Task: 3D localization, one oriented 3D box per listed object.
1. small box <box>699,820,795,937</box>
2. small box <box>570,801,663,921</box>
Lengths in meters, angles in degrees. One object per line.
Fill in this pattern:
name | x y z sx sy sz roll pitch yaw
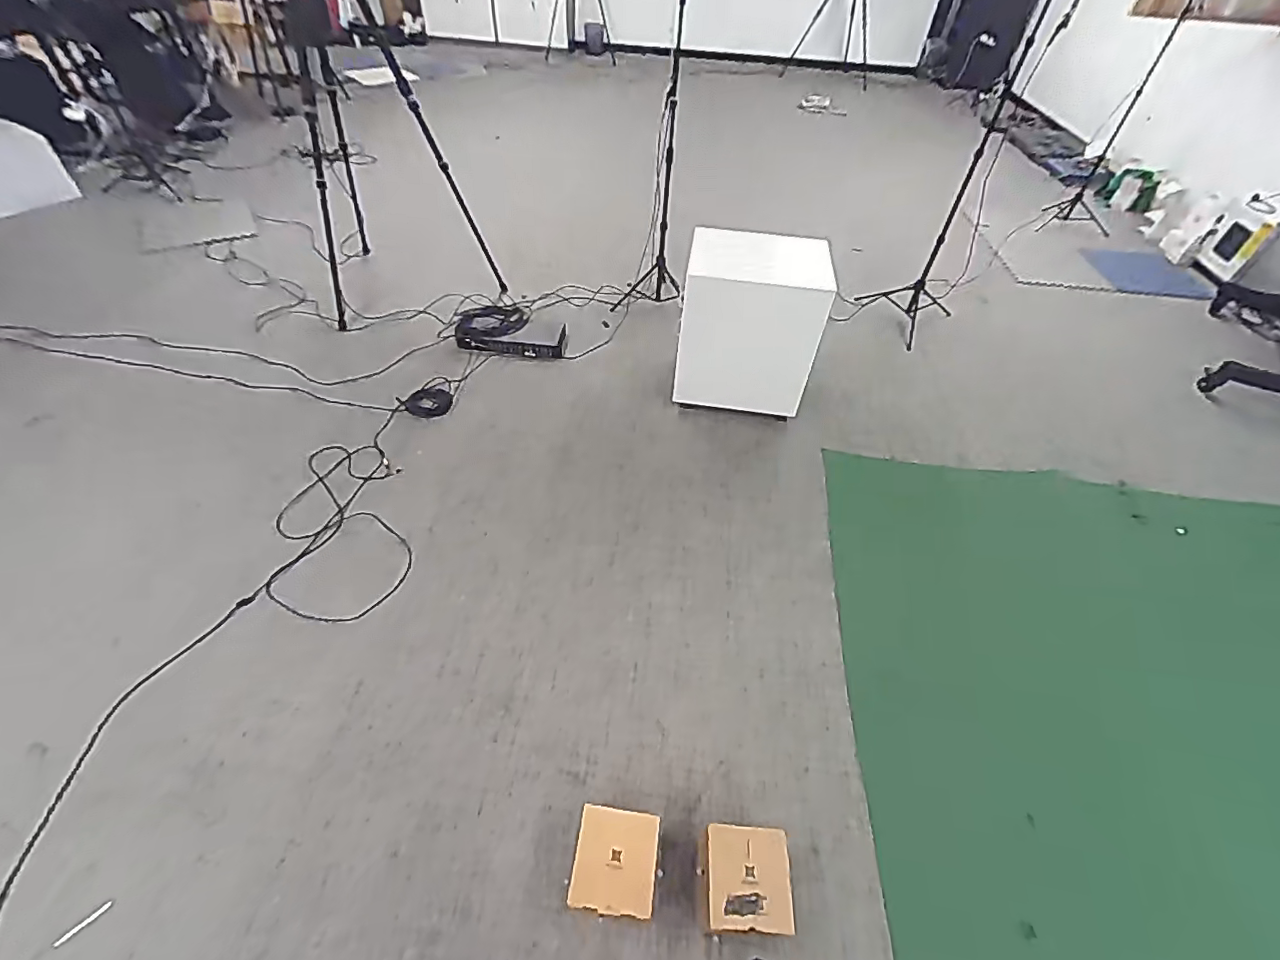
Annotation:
small box | 0.218 0.843 1.140 0.168 0.176 0.179 5 48 1
small box | -0.049 0.813 1.152 0.168 0.176 0.179 8 49 3
